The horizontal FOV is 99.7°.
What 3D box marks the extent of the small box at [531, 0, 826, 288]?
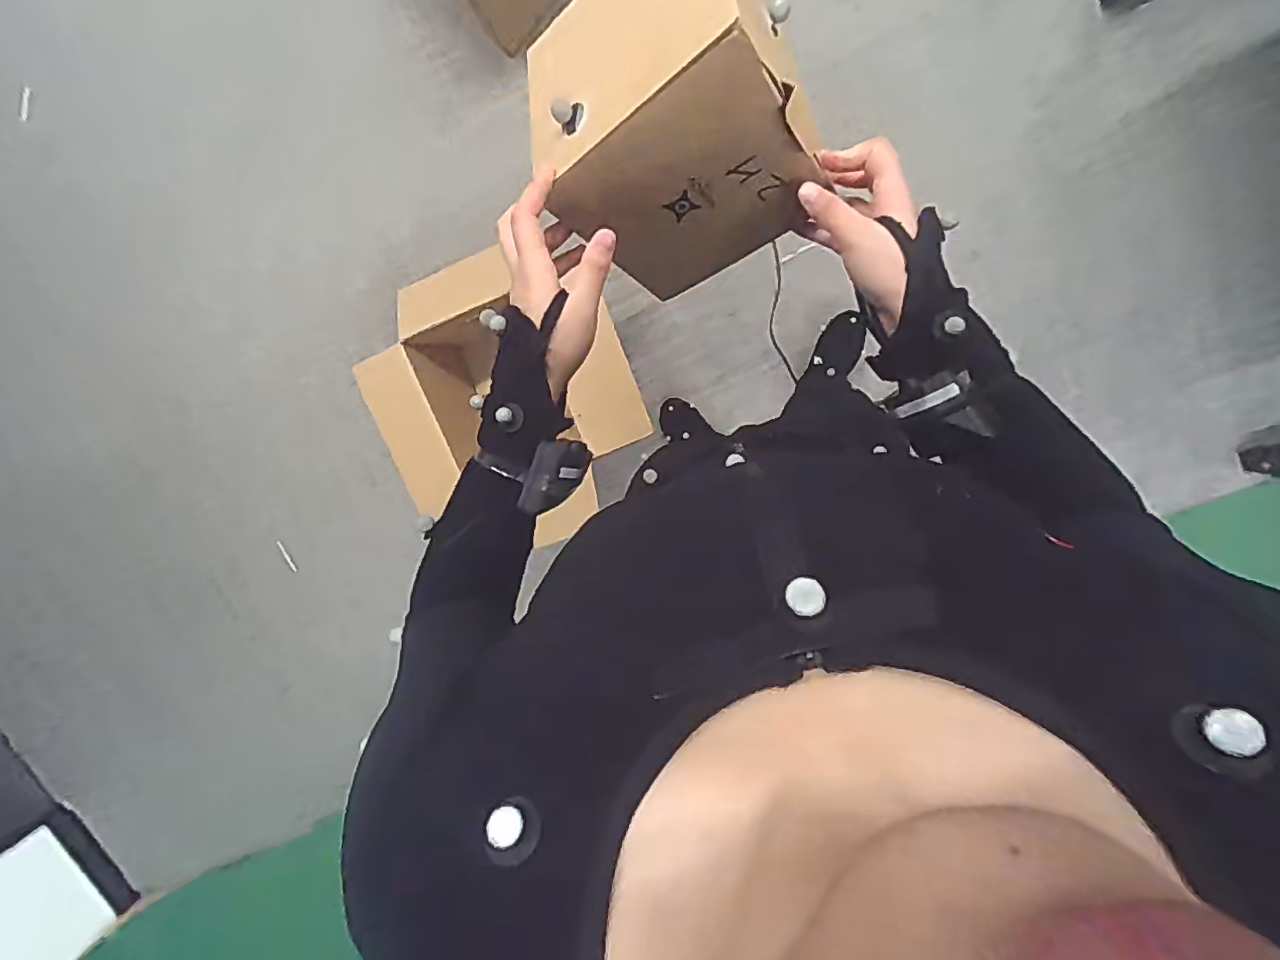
[{"bbox_3d":[0.028,-0.304,0.448,0.179,0.168,0.176,-21,65,34],"label":"small box"}]
